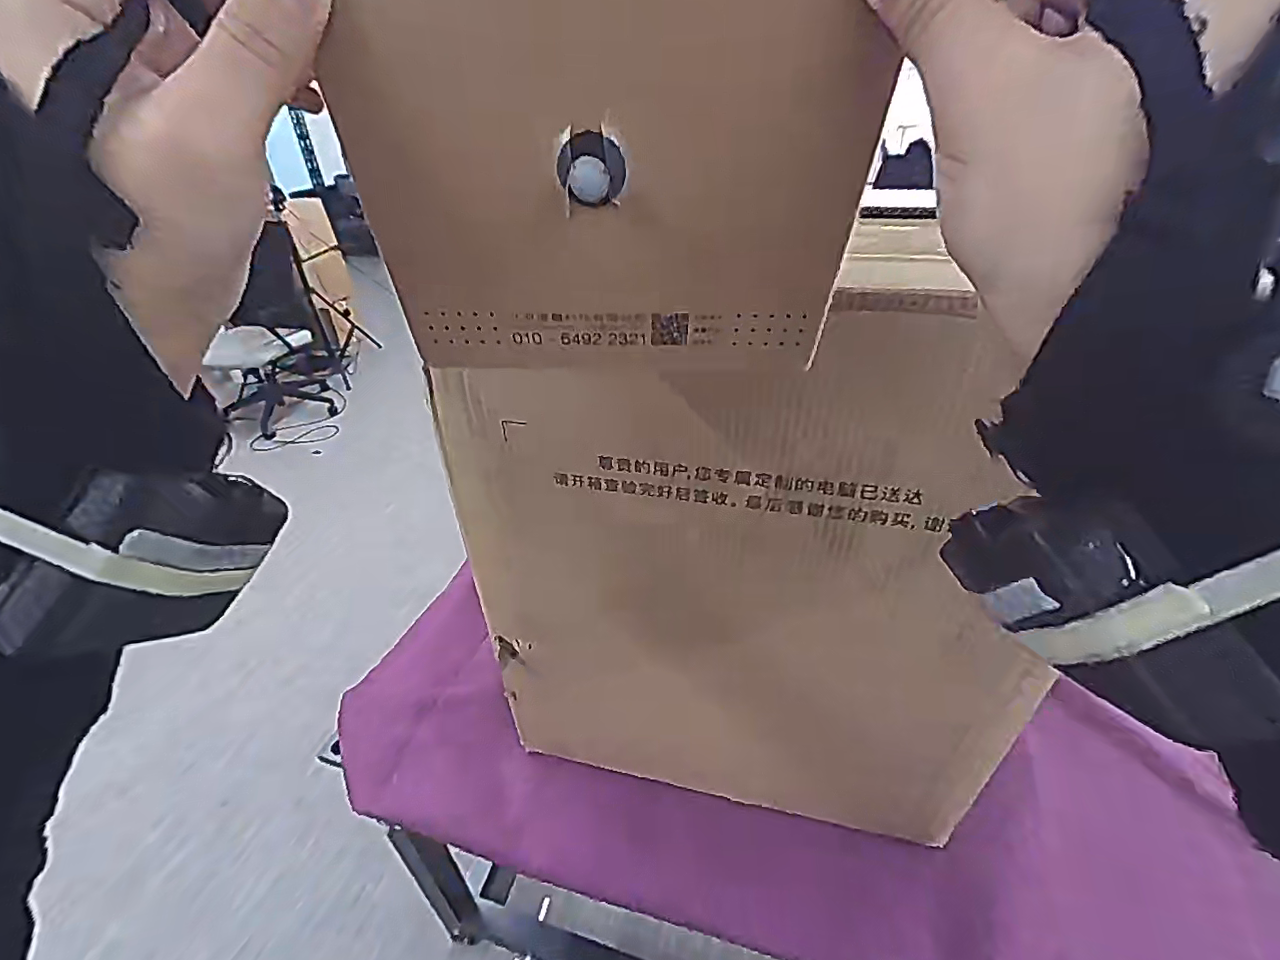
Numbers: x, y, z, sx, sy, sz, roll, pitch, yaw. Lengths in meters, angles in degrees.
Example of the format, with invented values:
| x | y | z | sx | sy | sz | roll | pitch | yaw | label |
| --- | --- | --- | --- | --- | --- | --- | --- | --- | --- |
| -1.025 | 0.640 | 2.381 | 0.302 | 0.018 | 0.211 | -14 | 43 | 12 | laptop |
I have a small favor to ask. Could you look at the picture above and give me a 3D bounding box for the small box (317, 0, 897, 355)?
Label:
| x | y | z | sx | sy | sz | roll | pitch | yaw | label |
| --- | --- | --- | --- | --- | --- | --- | --- | --- | --- |
| -0.007 | -0.168 | 0.225 | 0.168 | 0.176 | 0.179 | 1 | 49 | 0 | small box |
